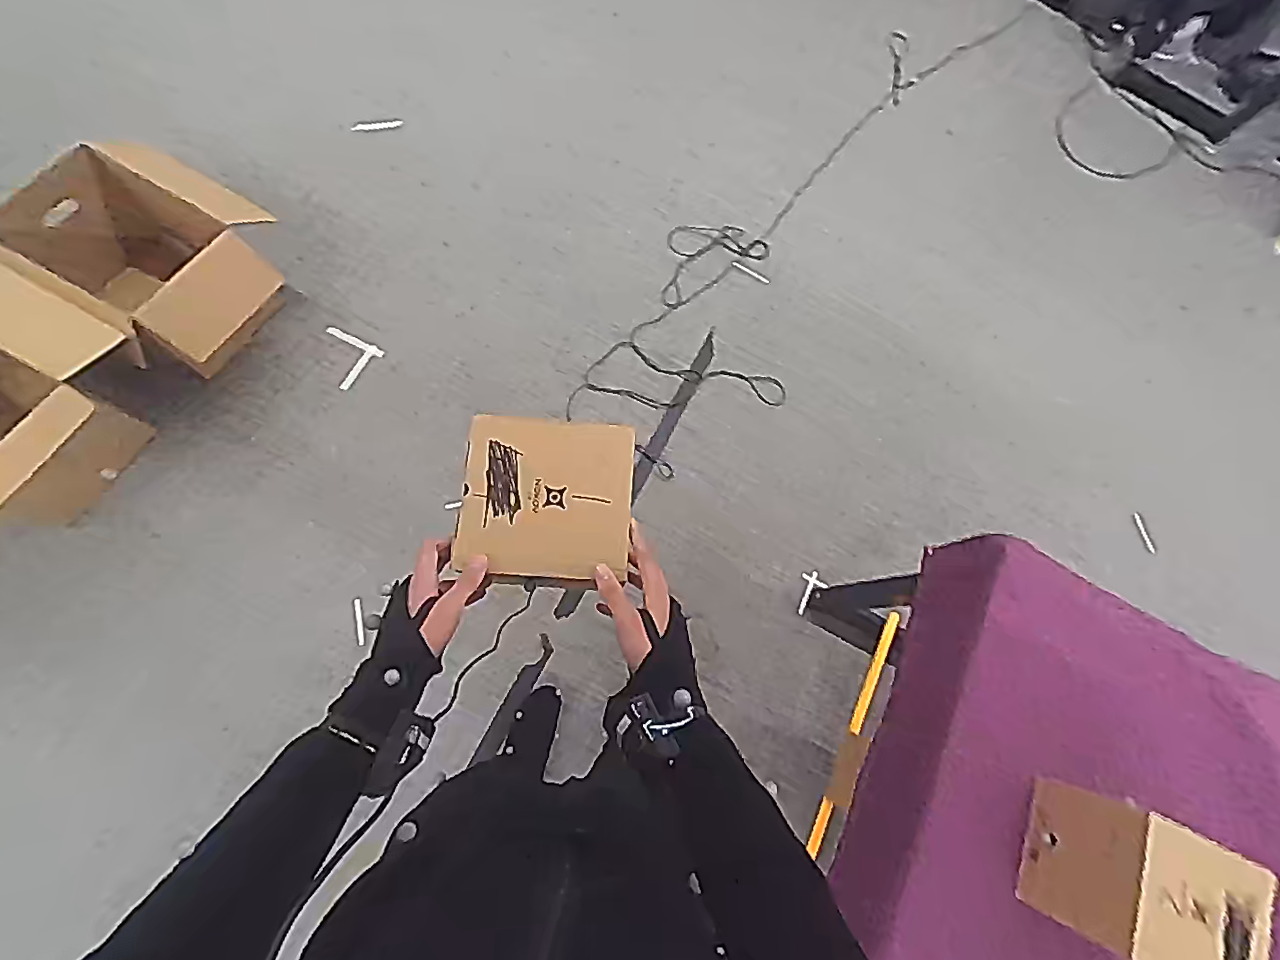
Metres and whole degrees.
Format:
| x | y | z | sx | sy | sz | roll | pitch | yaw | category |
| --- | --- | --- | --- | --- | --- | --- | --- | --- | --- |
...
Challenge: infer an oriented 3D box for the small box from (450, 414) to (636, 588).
| x | y | z | sx | sy | sz | roll | pitch | yaw | category |
| --- | --- | --- | --- | --- | --- | --- | --- | --- | --- |
| -0.100 | 0.035 | 0.627 | 0.179 | 0.176 | 0.168 | 4 | 75 | -3 | small box |

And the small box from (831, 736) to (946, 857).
| x | y | z | sx | sy | sz | roll | pitch | yaw | category |
| --- | --- | --- | --- | --- | --- | --- | --- | --- | --- |
| 0.582 | 0.742 | 1.288 | 0.168 | 0.176 | 0.179 | 27 | 72 | -1 | small box |
